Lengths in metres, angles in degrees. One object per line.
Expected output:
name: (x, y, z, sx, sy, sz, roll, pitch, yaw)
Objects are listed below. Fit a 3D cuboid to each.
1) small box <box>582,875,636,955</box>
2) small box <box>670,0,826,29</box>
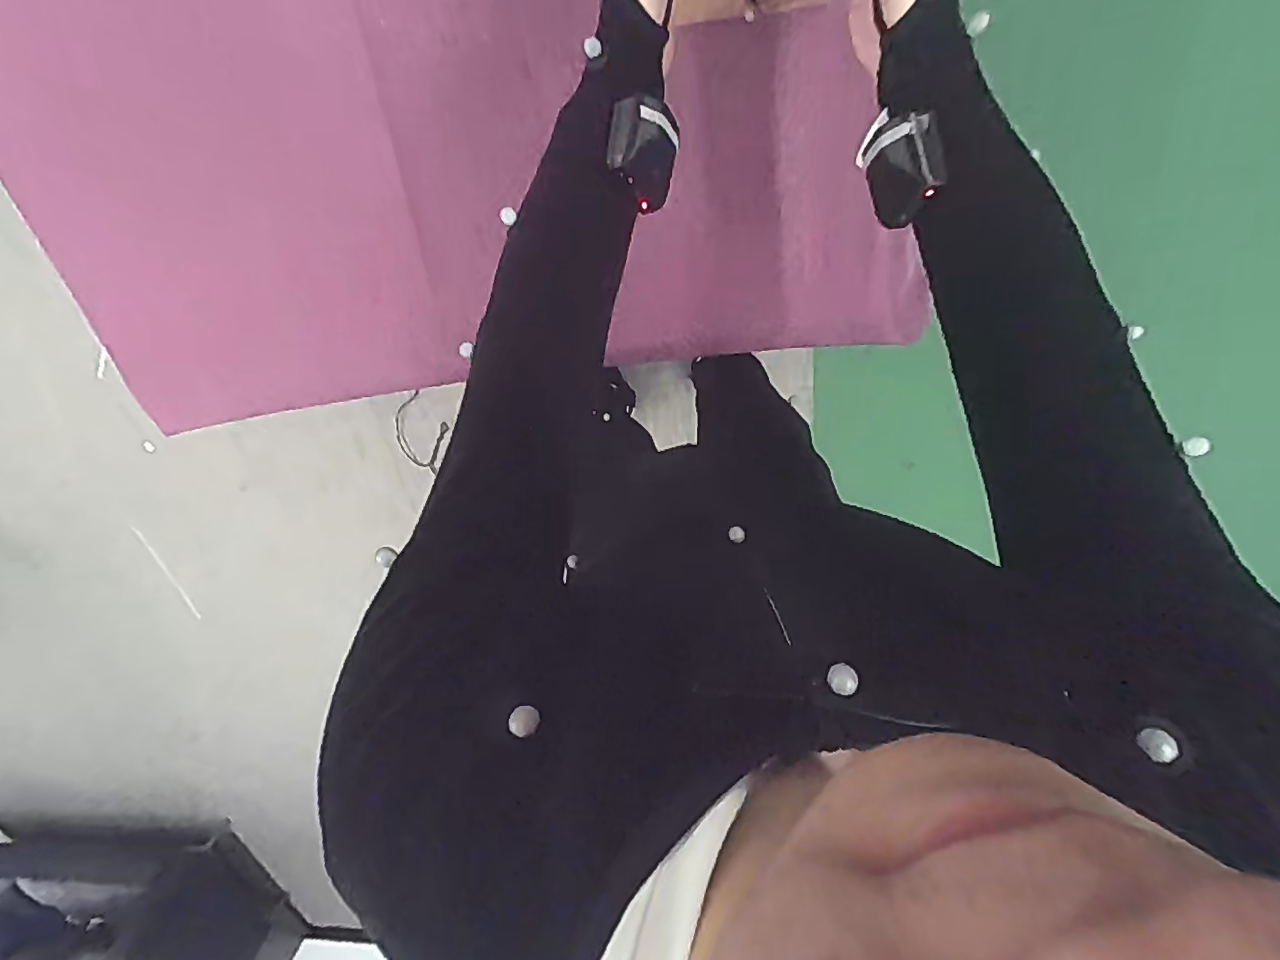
small box: (-0.111, 1.645, 2.049, 0.168, 0.176, 0.179, -2, 115, 10)
small box: (0.097, -0.528, 0.465, 0.168, 0.176, 0.179, -1, 119, 10)
